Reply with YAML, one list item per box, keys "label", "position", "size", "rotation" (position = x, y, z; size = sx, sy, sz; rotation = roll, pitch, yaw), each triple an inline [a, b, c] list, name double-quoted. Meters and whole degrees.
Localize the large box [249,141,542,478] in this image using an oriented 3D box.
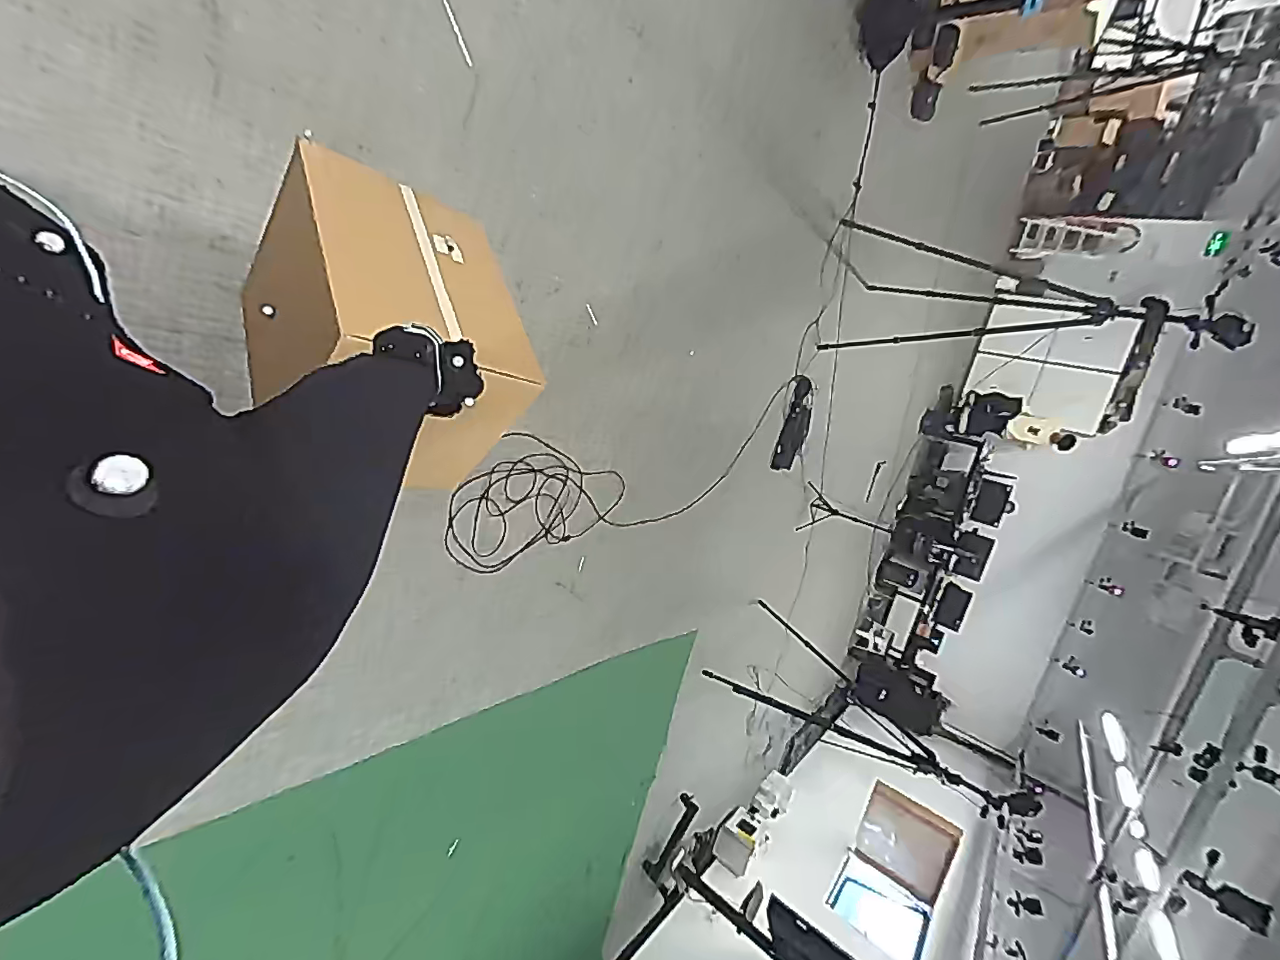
- label: "large box"
  position: [-0.428, -0.250, 0.917]
  size: [0.320, 0.408, 0.320]
  rotation: [-39, 152, 31]
